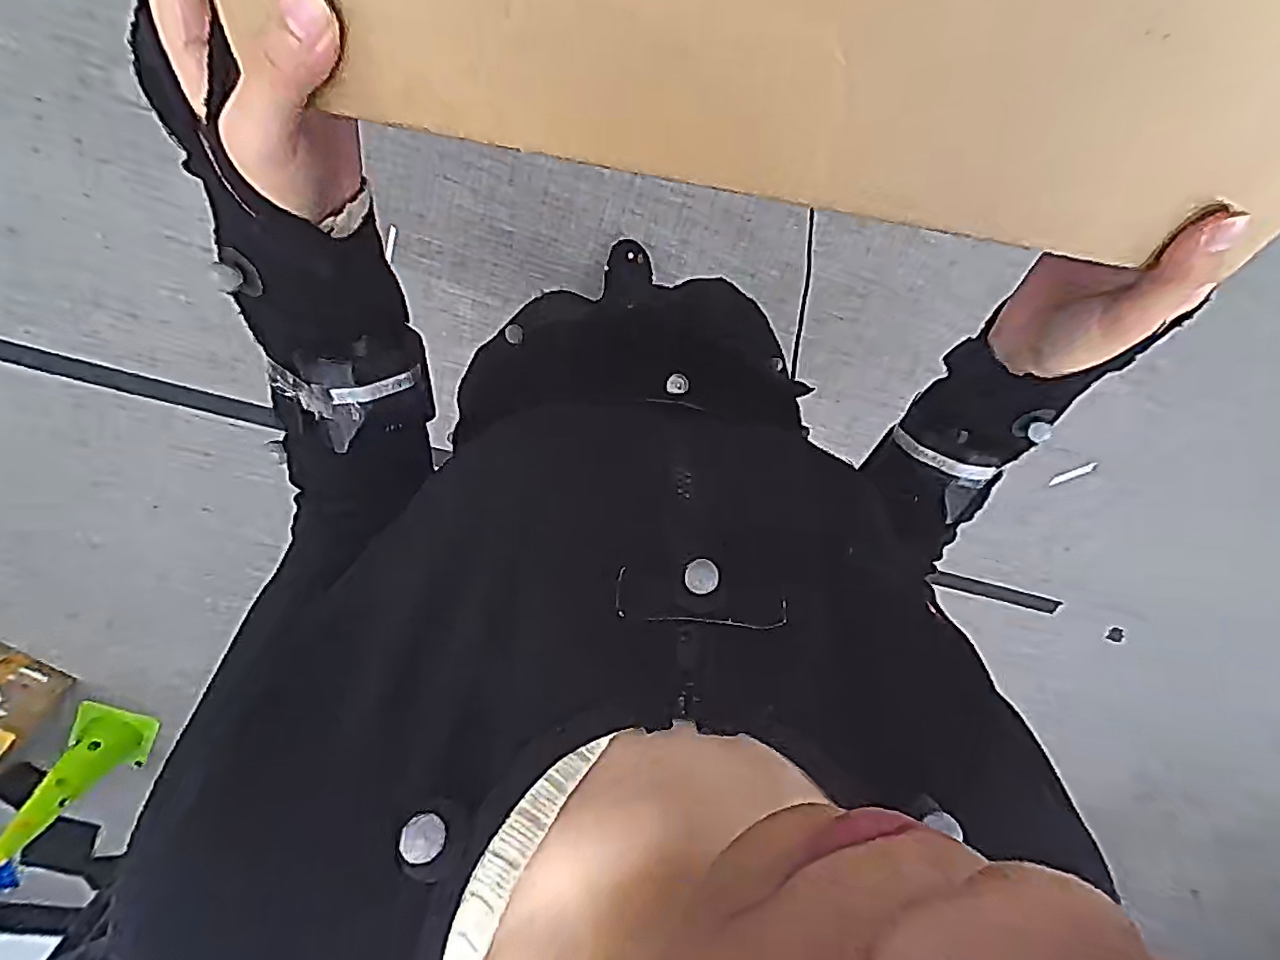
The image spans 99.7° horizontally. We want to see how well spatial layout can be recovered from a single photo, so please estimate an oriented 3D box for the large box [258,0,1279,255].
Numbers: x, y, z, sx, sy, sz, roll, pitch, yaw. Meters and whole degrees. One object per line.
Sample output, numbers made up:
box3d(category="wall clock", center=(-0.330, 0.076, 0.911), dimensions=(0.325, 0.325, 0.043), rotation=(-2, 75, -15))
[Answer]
box3d(category="large box", center=(0.088, -0.330, 0.199), dimensions=(0.408, 0.320, 0.320), rotation=(6, 142, -8))
